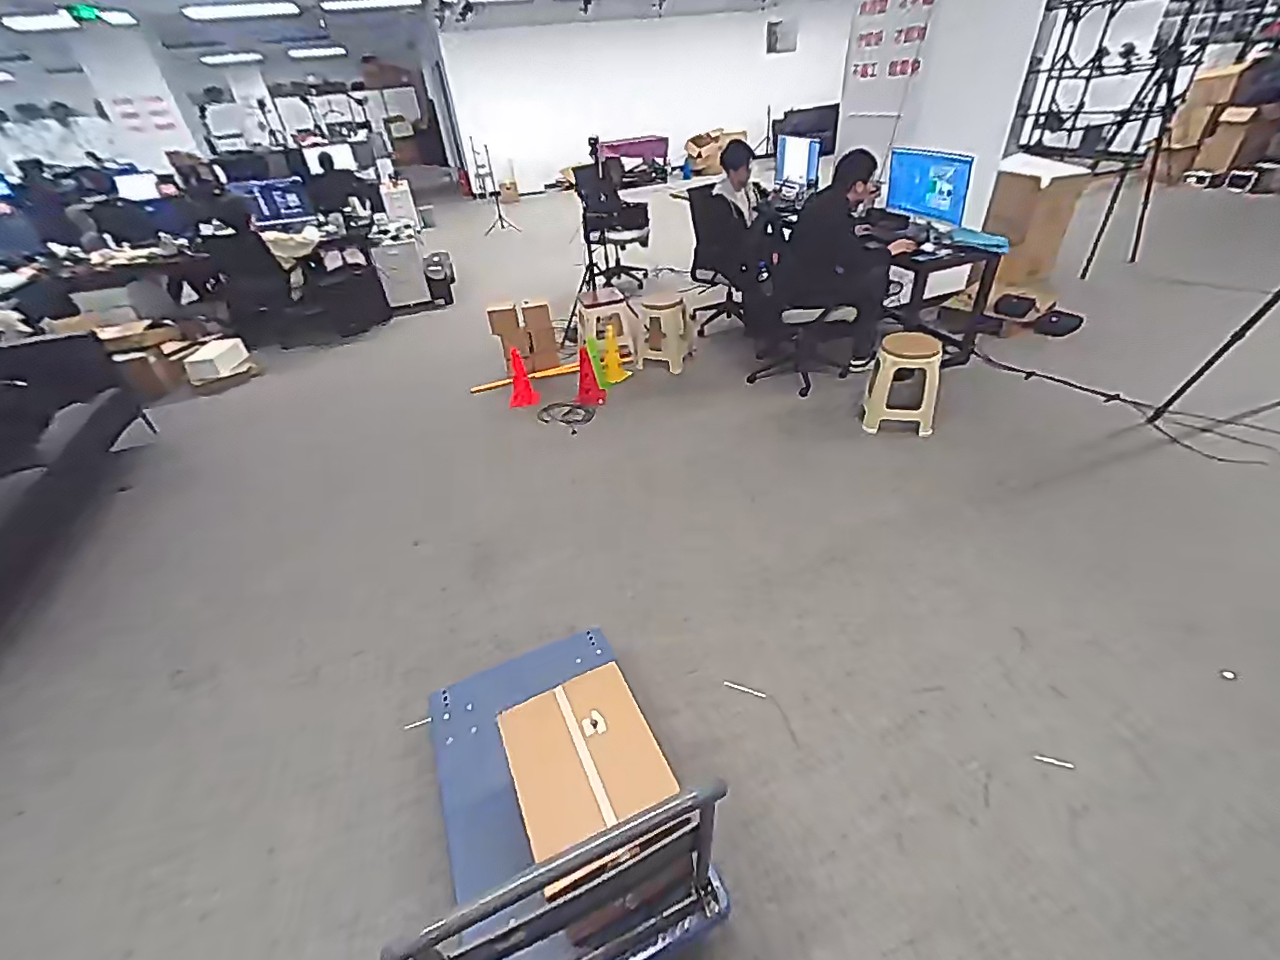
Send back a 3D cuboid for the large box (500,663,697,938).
[{"bbox_3d":[-0.099,0.735,1.278,0.320,0.320,0.408,-19,38,-18],"label":"large box"}]
